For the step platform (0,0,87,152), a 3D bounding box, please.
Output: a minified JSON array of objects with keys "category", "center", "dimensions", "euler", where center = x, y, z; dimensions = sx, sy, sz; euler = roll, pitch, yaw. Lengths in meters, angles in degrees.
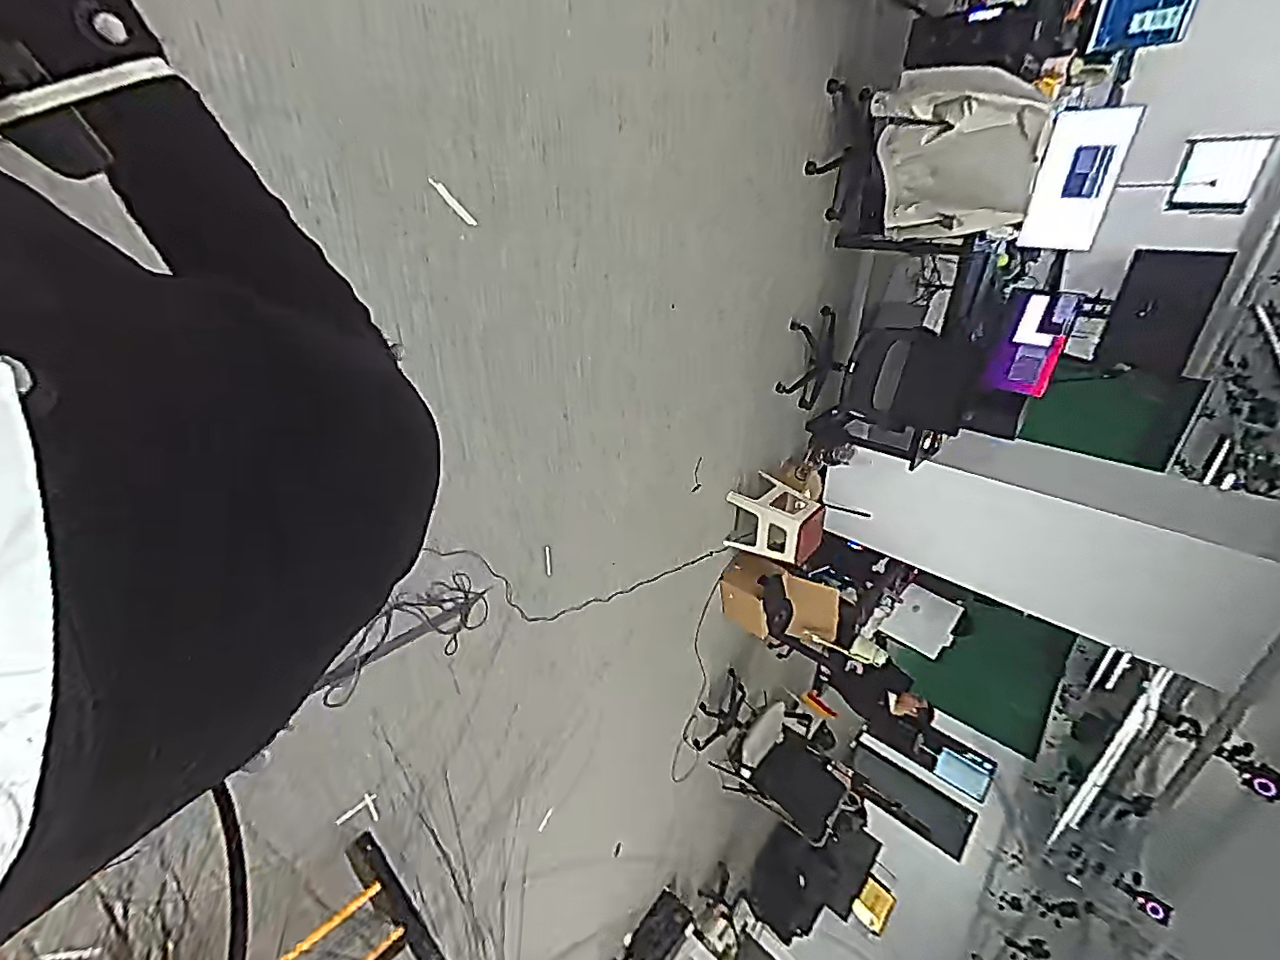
[{"category":"step platform","center":[-1.023,-0.479,0.508],"dimensions":[0.684,0.204,0.286],"euler":[-29,129,-40]}]
